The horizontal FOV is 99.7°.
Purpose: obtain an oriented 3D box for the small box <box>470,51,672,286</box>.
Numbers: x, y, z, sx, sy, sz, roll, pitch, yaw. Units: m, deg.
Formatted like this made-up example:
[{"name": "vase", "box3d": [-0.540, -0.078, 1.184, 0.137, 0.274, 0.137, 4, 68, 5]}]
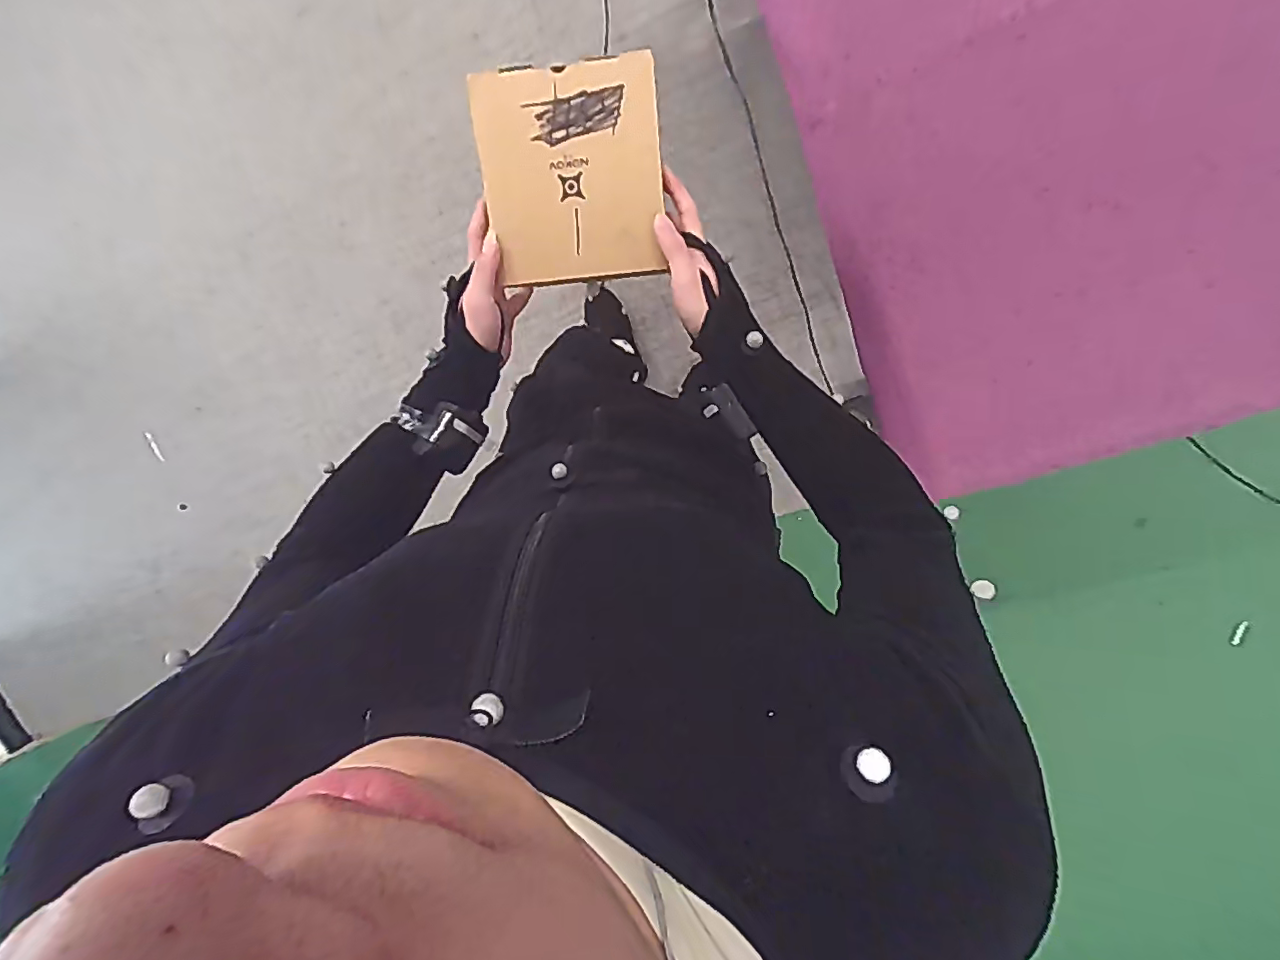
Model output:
[{"name": "small box", "box3d": [-0.056, -0.300, 0.561, 0.168, 0.176, 0.179, -5, 110, 4]}]
